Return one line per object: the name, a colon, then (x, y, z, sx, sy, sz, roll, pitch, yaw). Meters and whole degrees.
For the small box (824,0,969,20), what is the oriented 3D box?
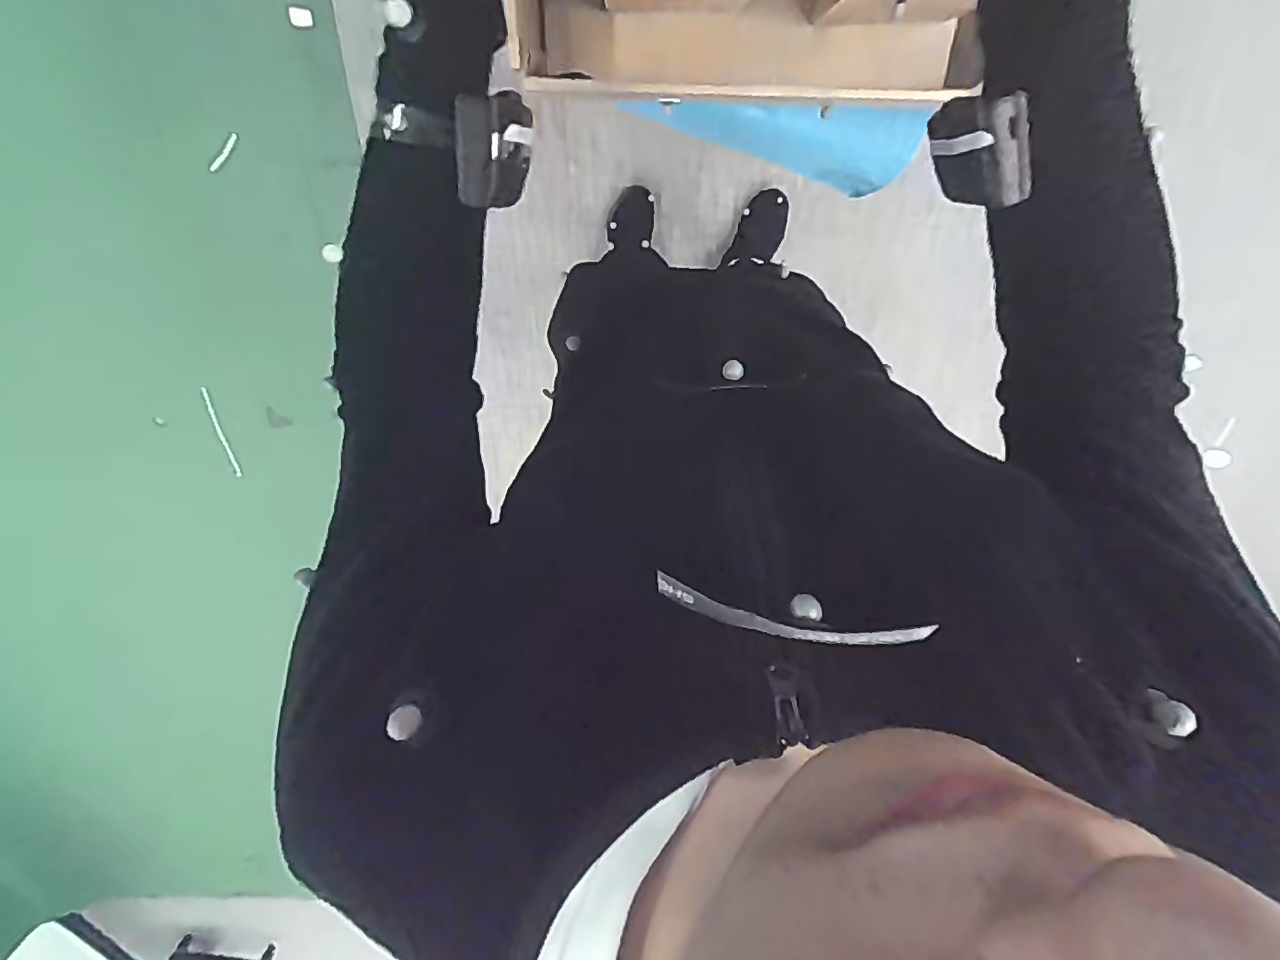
small box: (0.304, -0.610, 0.568, 0.179, 0.176, 0.168, 0, 120, 5)

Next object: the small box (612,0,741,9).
small box: (0.047, -0.624, 0.571, 0.179, 0.176, 0.168, 0, 120, -1)
